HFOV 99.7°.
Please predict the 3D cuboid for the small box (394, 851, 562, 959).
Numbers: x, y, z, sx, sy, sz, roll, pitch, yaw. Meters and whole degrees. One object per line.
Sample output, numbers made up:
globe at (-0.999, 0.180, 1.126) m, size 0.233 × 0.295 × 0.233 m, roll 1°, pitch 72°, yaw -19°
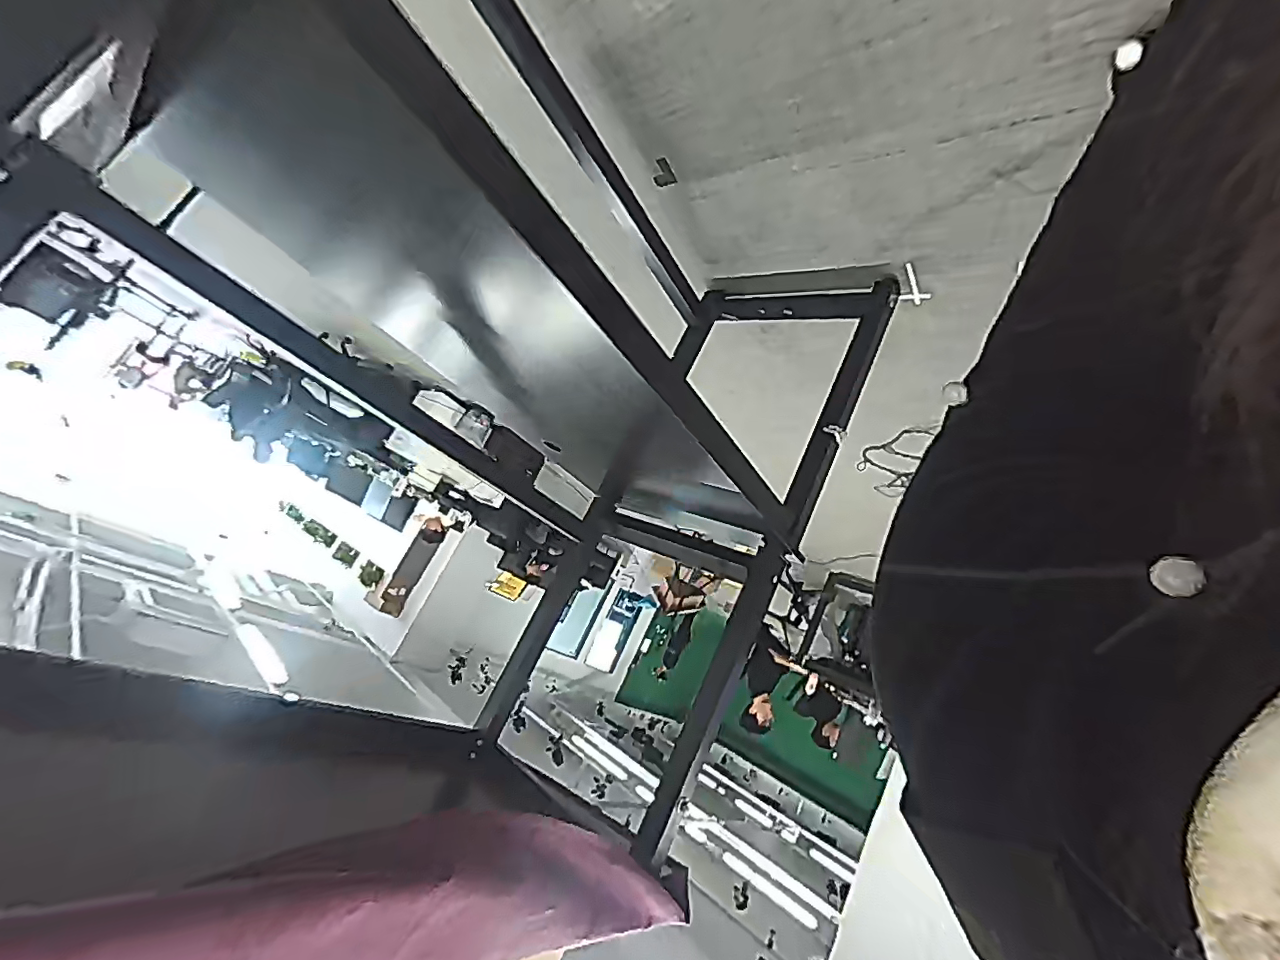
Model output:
small box at (-0.257, 0.734, 0.875) m, size 0.179 × 0.176 × 0.168 m, roll 12°, pitch 159°, yaw 49°
